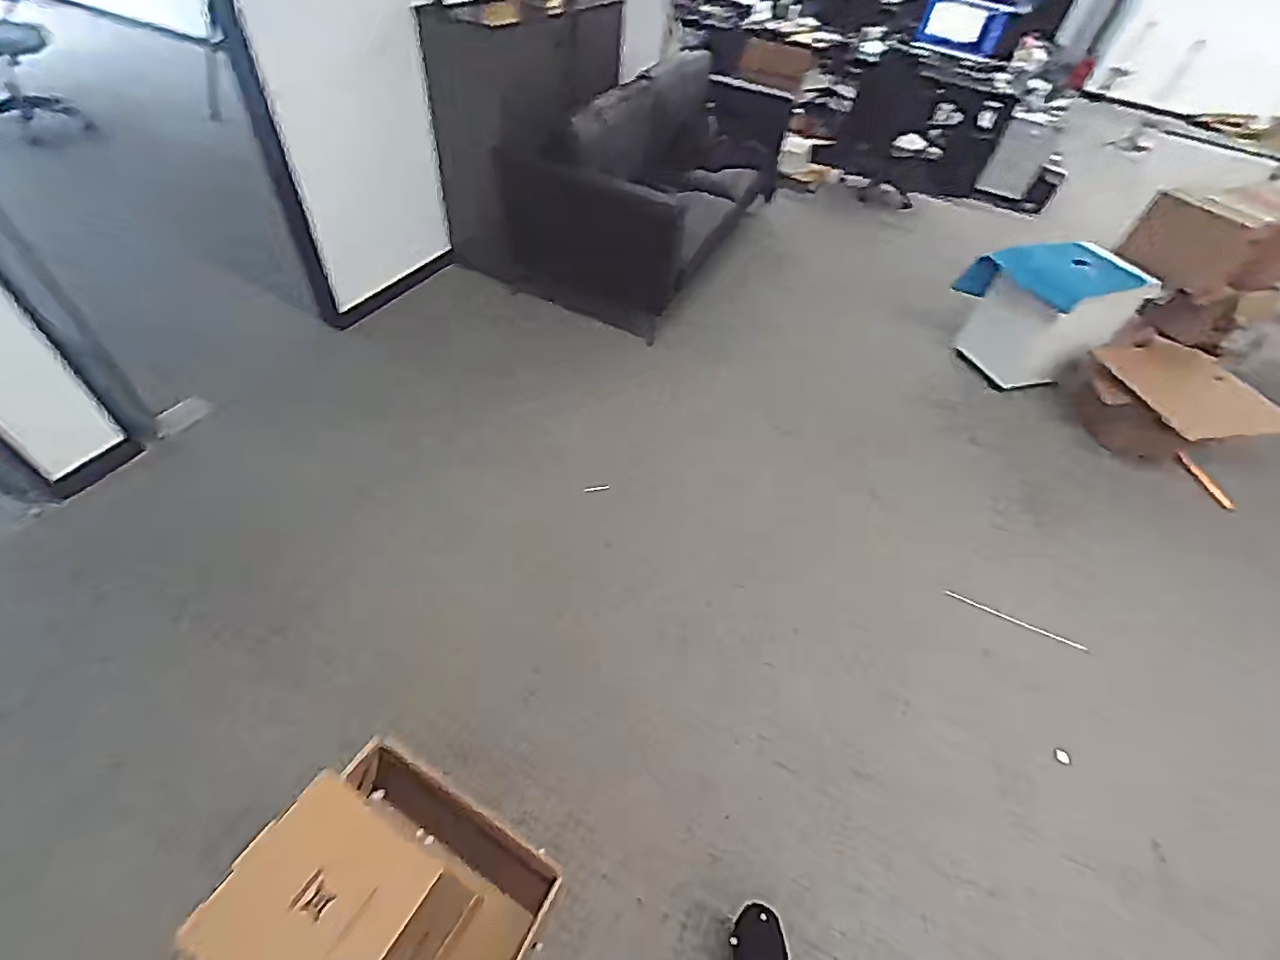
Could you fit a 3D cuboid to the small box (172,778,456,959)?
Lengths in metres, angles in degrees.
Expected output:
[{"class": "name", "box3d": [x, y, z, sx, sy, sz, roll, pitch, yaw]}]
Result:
[{"class": "small box", "box3d": [-0.325, 0.464, 0.577, 0.179, 0.176, 0.168, 28, 51, 15]}]

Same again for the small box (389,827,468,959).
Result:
[{"class": "small box", "box3d": [-0.347, 0.570, 0.700, 0.179, 0.176, 0.168, 27, 50, 16]}]

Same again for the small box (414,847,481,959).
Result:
[{"class": "small box", "box3d": [-0.364, 0.679, 0.821, 0.179, 0.176, 0.168, 27, 51, 16]}]
